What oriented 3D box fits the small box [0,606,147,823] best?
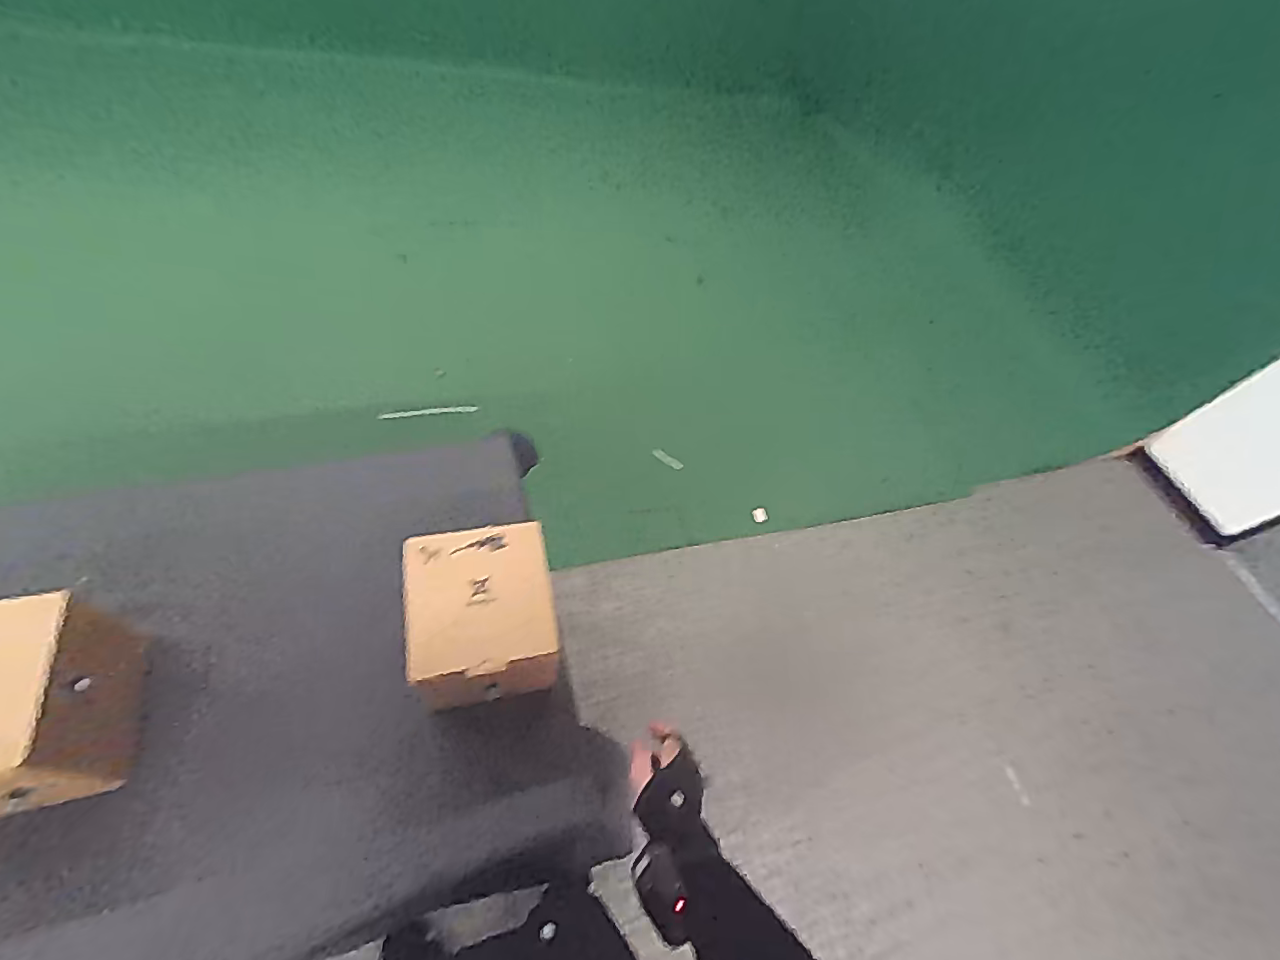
[{"bbox_3d":[-0.670,0.257,0.568,0.168,0.176,0.179,-8,59,-19],"label":"small box"}]

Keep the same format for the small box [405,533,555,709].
[{"bbox_3d":[-0.207,0.192,0.714,0.168,0.176,0.179,-6,60,-16],"label":"small box"}]
